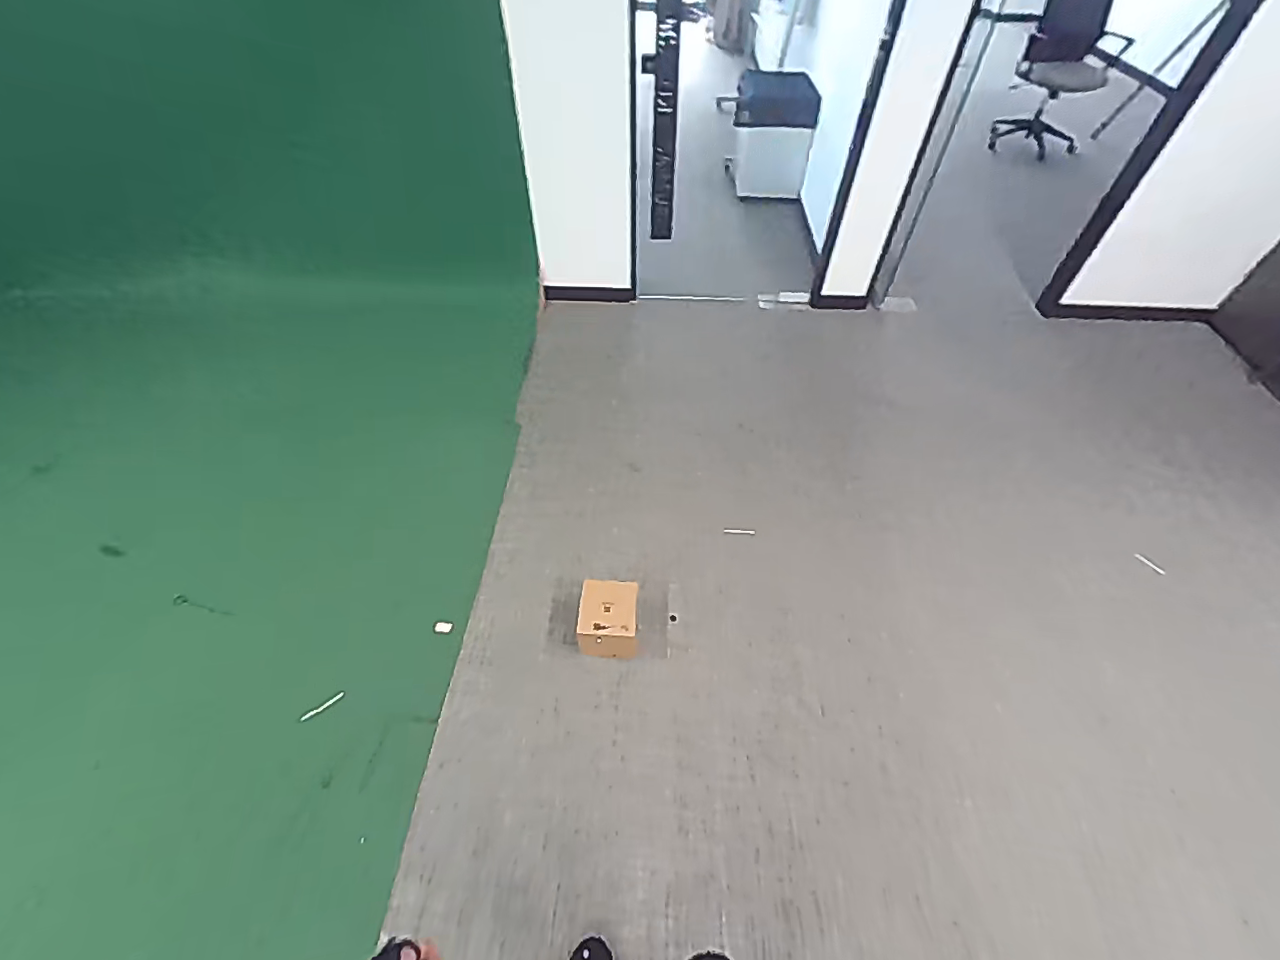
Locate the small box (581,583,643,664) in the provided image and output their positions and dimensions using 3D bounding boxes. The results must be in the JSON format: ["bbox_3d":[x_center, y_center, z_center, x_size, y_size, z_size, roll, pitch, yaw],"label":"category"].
[{"bbox_3d":[-0.079,0.433,1.632,0.168,0.176,0.179,2,49,3],"label":"small box"}]
